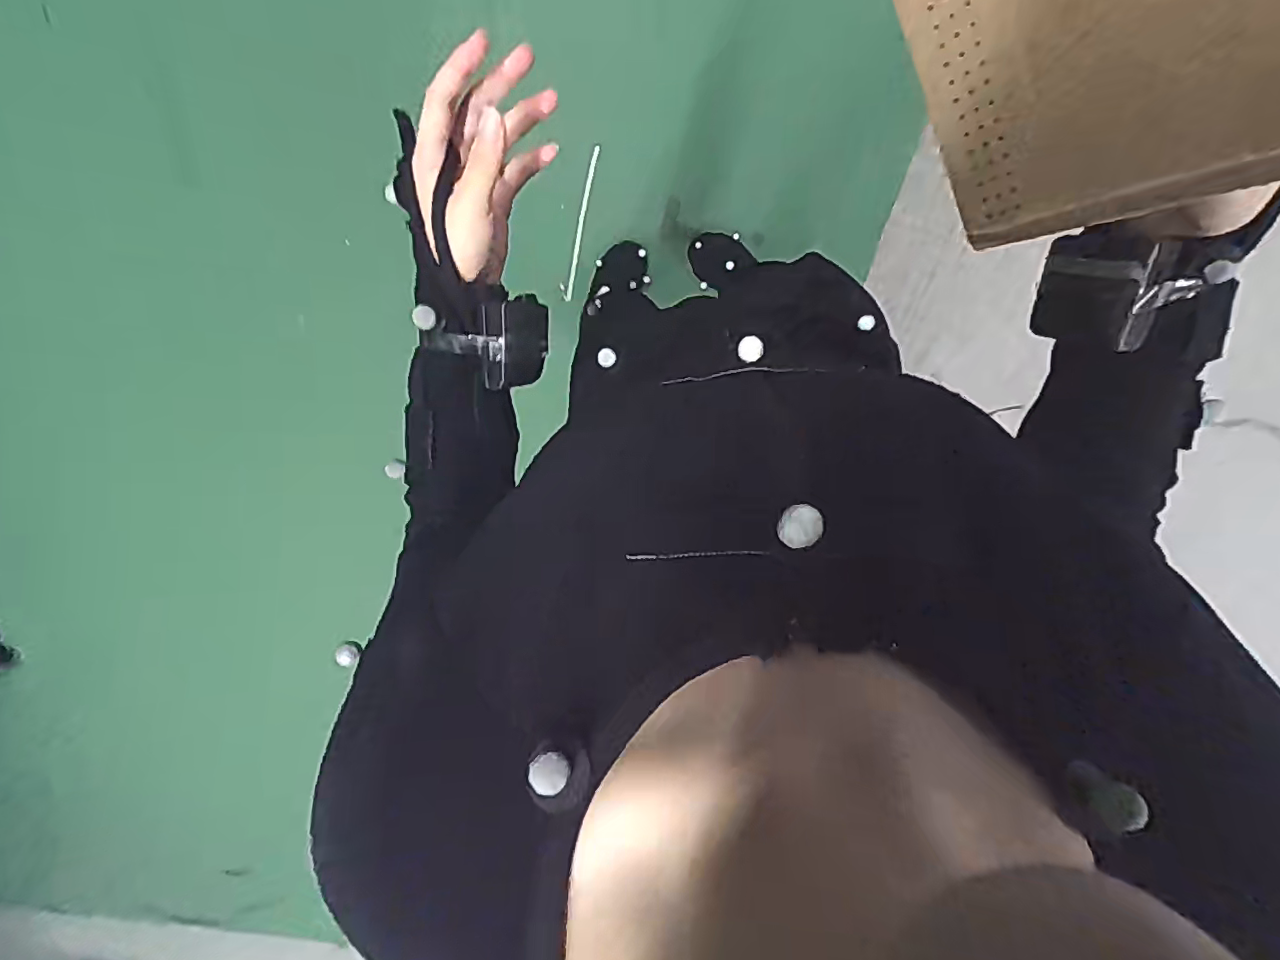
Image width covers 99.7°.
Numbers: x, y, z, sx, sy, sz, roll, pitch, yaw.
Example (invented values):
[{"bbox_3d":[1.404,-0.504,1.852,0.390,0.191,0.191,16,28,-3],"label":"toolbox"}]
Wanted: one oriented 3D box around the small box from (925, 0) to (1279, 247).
[{"bbox_3d":[0.199,-0.194,0.147,0.168,0.176,0.179,-32,108,-5],"label":"small box"}]
